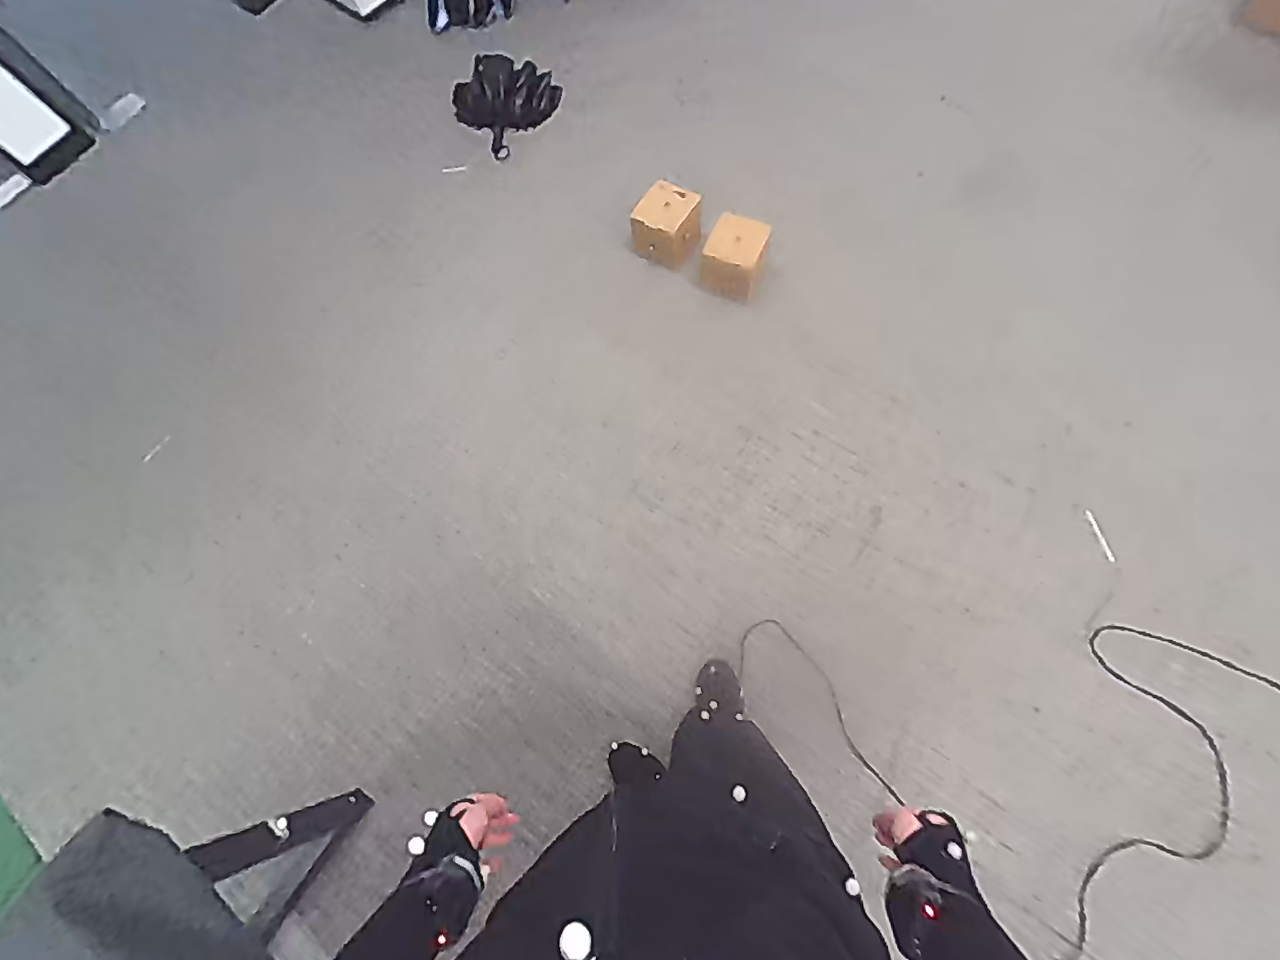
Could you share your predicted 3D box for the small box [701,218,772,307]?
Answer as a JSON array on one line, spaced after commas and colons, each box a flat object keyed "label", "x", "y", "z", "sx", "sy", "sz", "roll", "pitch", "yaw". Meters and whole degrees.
[{"label": "small box", "x": 0.301, "y": -0.681, "z": 1.710, "sx": 0.168, "sy": 0.176, "sz": 0.179, "roll": 23, "pitch": 72, "yaw": 12}]

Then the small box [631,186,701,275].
[{"label": "small box", "x": 0.092, "y": -0.814, "z": 1.778, "sx": 0.168, "sy": 0.176, "sz": 0.179, "roll": 30, "pitch": 76, "yaw": 16}]
